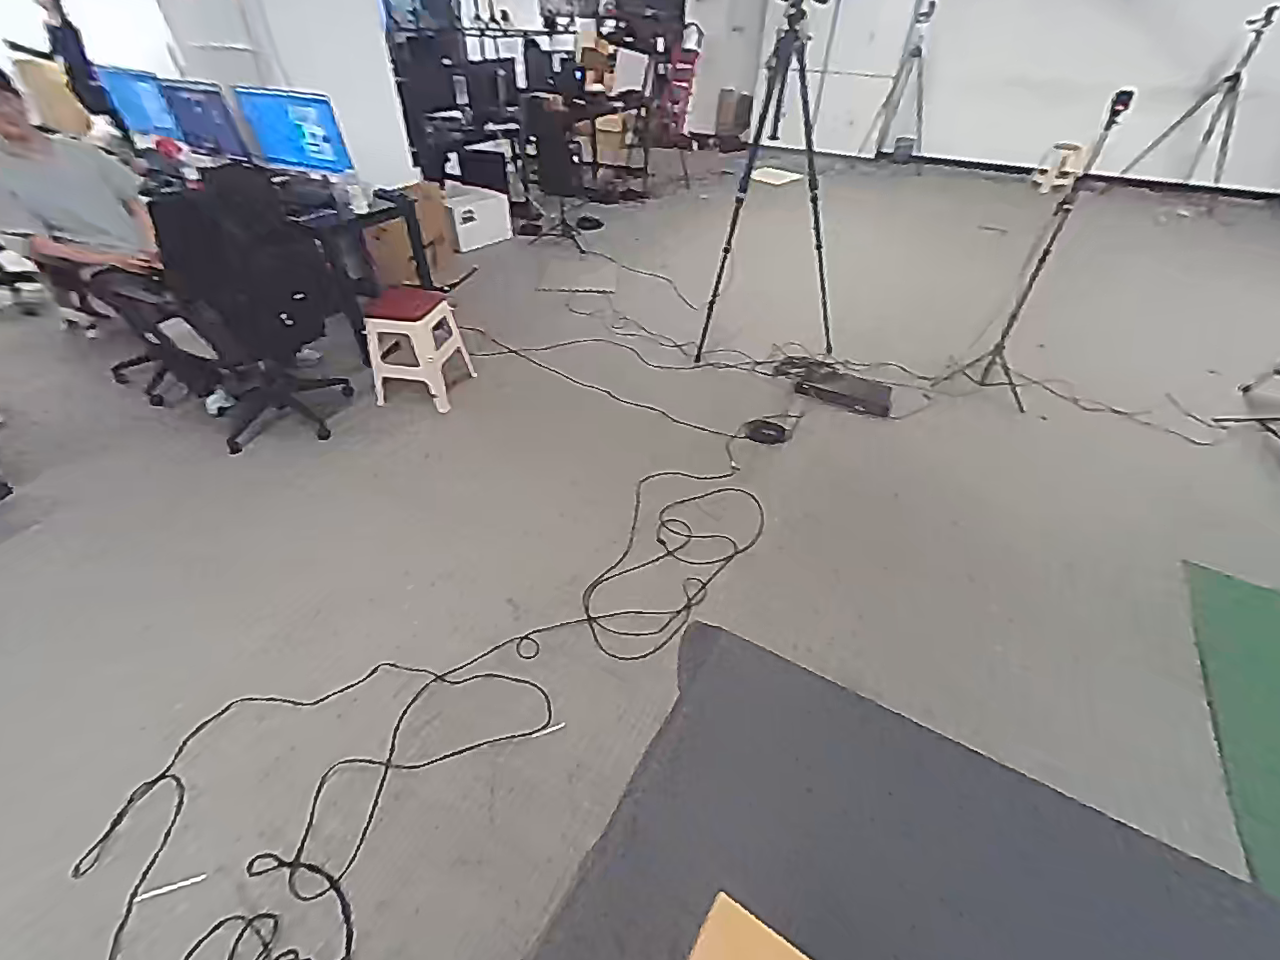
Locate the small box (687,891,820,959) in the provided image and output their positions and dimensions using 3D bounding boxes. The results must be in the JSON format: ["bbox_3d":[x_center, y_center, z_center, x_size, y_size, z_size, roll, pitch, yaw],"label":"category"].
[{"bbox_3d":[0.090,0.502,0.445,0.168,0.176,0.179,26,43,23],"label":"small box"}]
